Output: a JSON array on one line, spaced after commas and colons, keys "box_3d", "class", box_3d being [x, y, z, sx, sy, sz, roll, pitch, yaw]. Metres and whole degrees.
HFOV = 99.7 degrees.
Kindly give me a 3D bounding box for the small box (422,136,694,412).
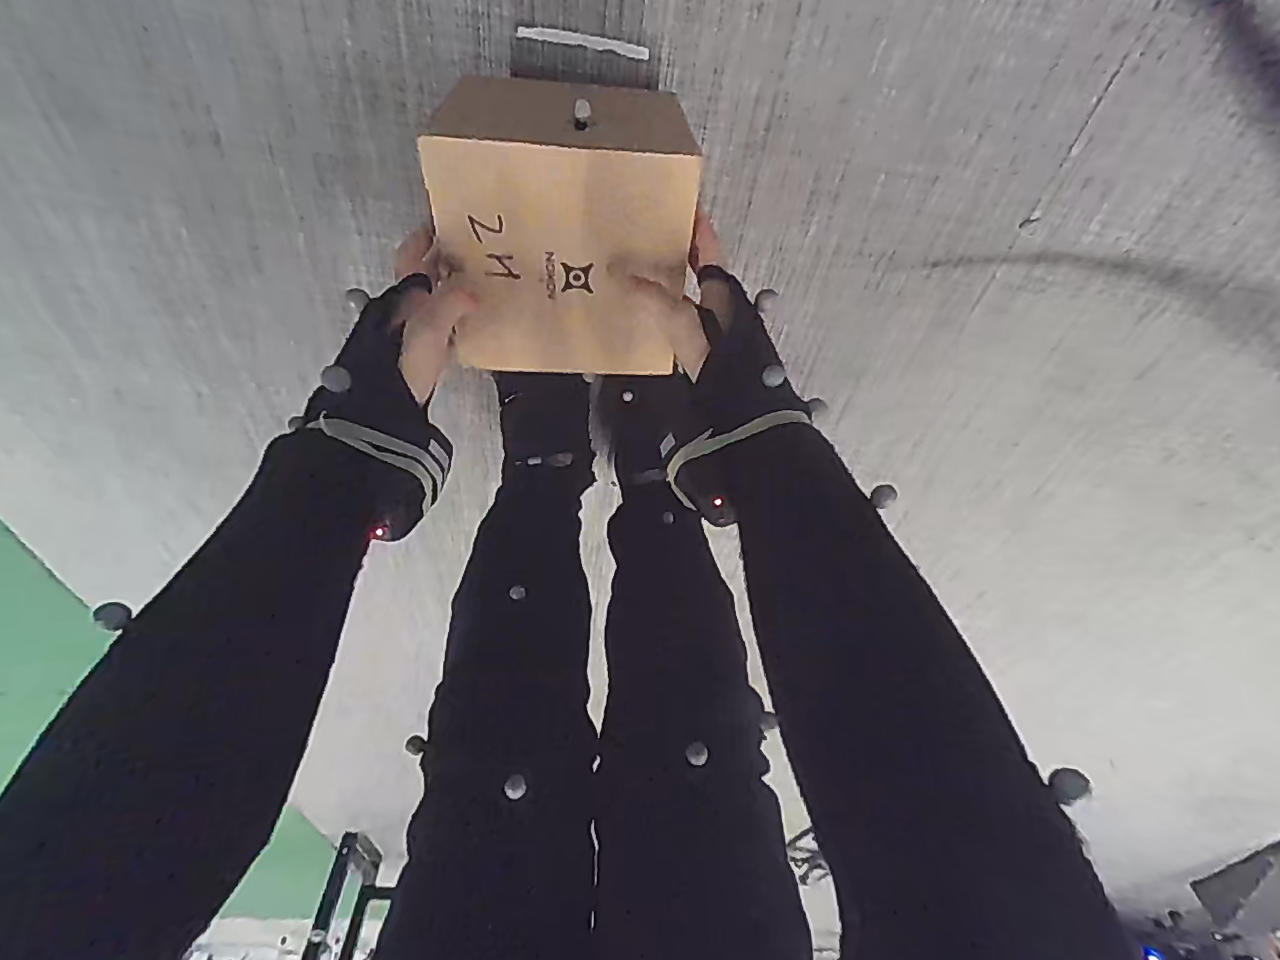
[{"box_3d": [-0.063, -0.174, 0.454, 0.179, 0.176, 0.168, 0, 133, -6], "class": "small box"}]
